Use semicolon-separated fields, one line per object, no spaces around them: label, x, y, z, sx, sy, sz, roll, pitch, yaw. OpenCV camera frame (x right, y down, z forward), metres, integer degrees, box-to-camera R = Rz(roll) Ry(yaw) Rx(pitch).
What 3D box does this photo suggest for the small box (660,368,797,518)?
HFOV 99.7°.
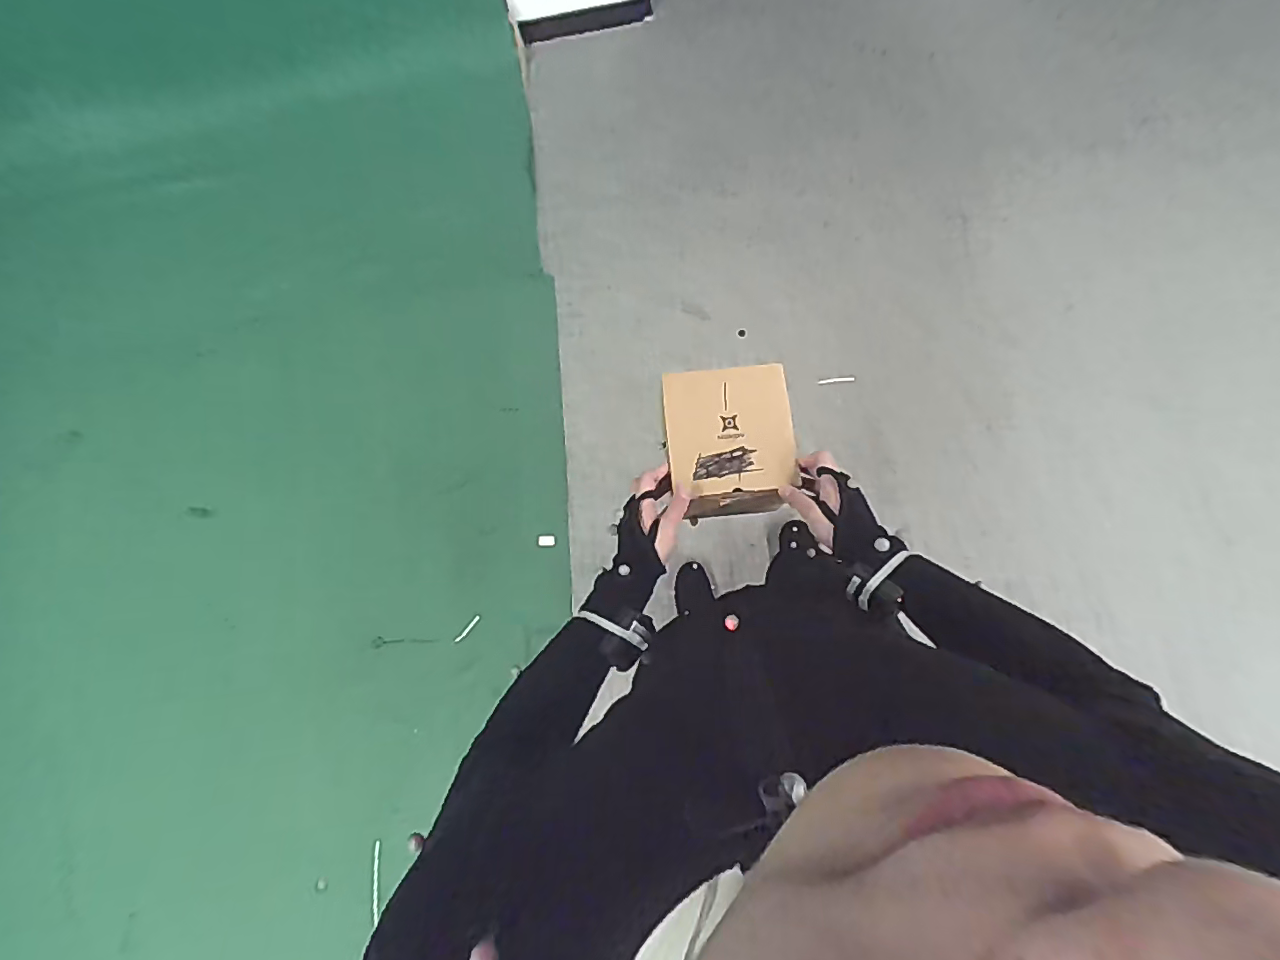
small box;0.121;-0.043;0.799;0.168;0.176;0.179;-6;76;0
